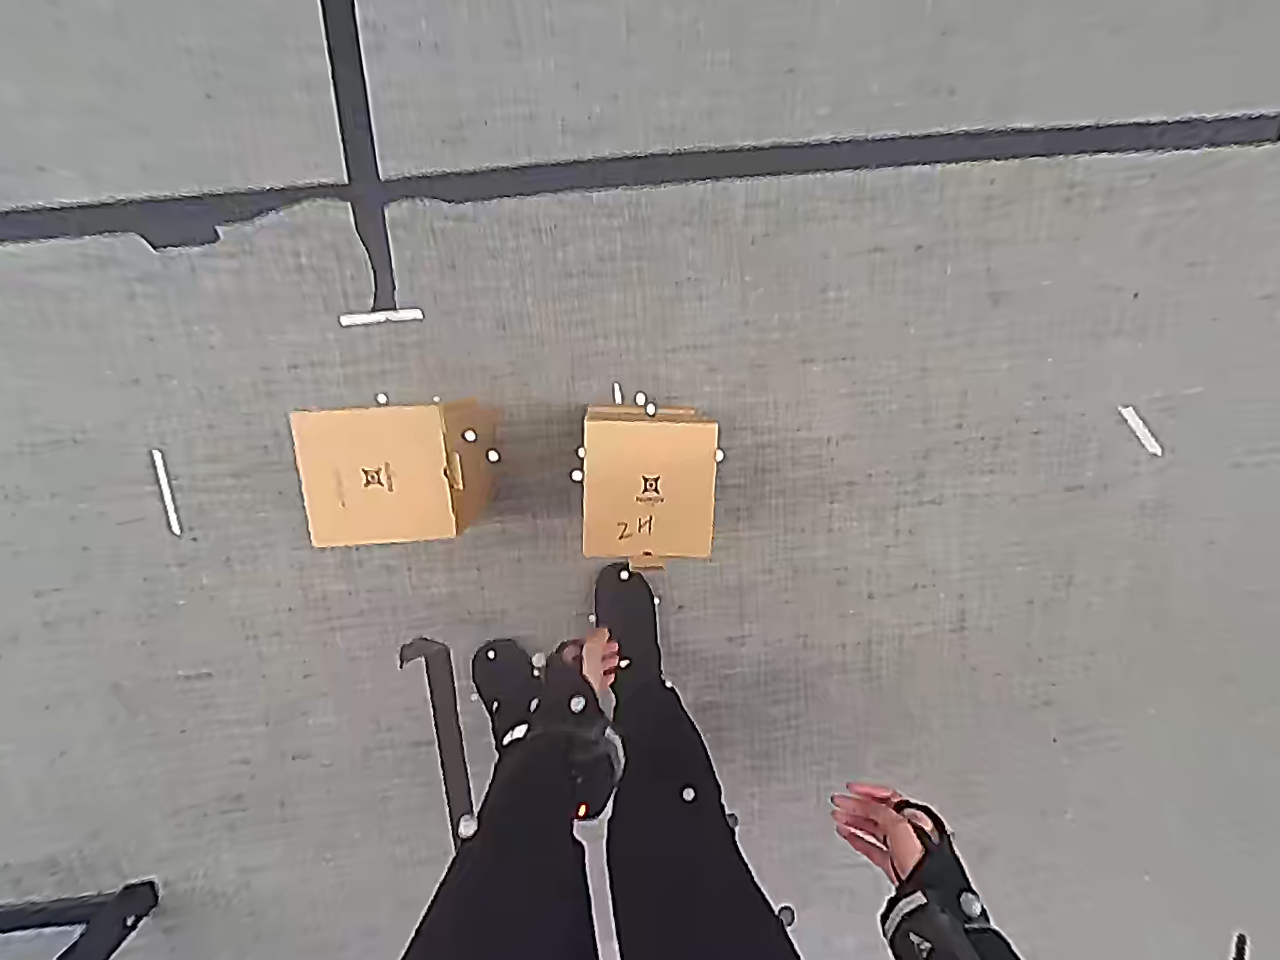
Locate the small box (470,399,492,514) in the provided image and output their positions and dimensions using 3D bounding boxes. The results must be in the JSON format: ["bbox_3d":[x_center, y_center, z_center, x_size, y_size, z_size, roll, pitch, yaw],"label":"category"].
[{"bbox_3d":[-0.339,-0.046,0.876,0.179,0.176,0.168,0,101,-6],"label":"small box"}]

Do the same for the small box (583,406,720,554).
[{"bbox_3d":[0.006,-0.009,0.743,0.168,0.176,0.179,1,101,-4],"label":"small box"}]

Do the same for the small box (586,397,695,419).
[{"bbox_3d":[-0.007,-0.044,0.903,0.168,0.176,0.179,1,101,-5],"label":"small box"}]

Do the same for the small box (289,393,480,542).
[{"bbox_3d":[-0.317,-0.026,0.714,0.179,0.176,0.168,-3,102,-3],"label":"small box"}]
